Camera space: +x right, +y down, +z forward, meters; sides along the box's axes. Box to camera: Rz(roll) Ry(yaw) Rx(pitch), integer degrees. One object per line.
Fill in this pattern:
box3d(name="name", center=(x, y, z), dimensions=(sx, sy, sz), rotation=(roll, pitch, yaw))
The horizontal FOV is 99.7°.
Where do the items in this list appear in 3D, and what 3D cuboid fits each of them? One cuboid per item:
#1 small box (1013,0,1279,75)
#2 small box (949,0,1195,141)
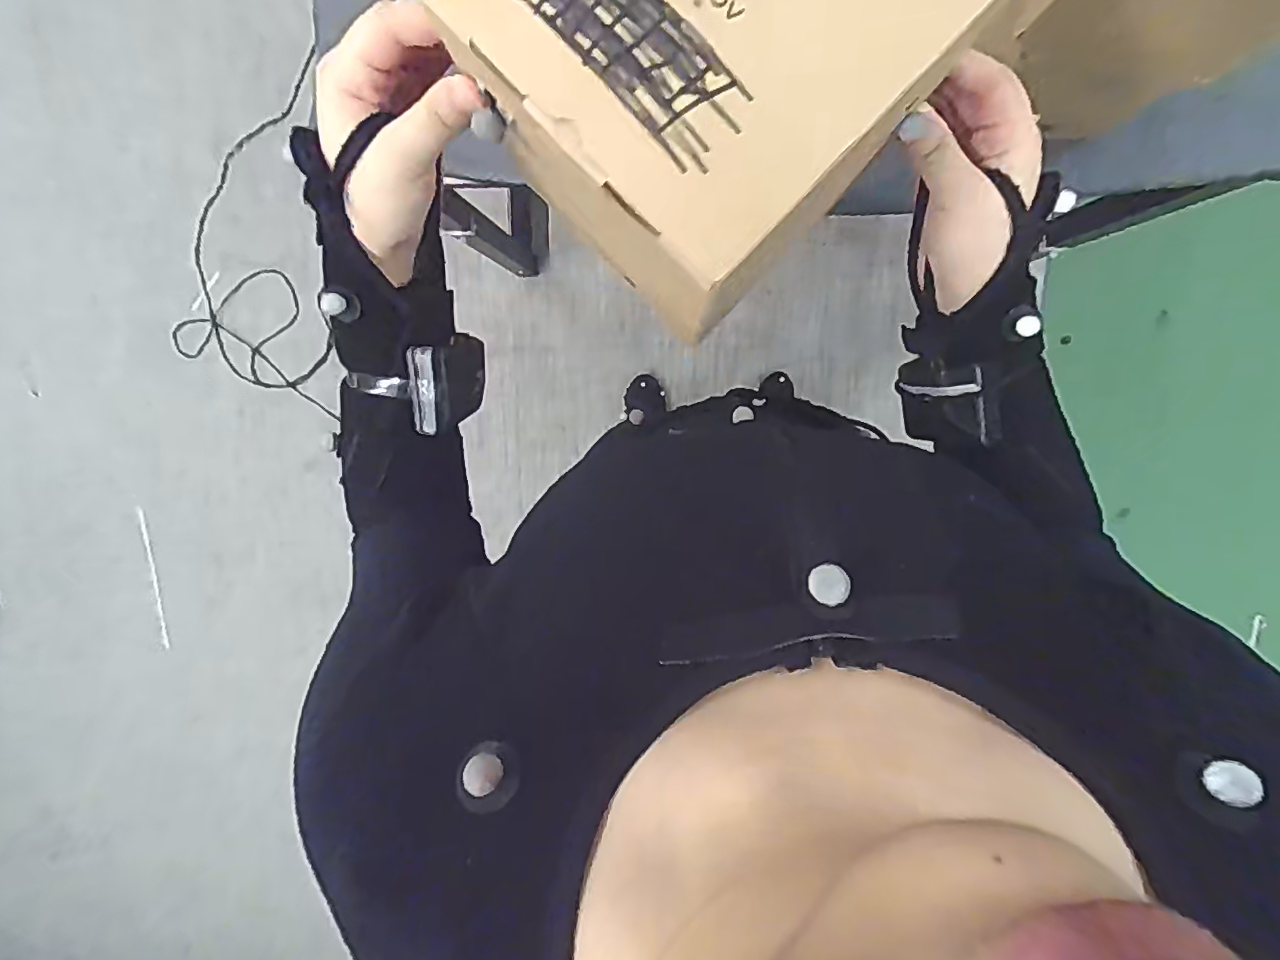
box3d(name="small box", center=(0.426, -0.435, 0.390), dimensions=(0.179, 0.176, 0.168), rotation=(14, 100, 4))
box3d(name="small box", center=(0.441, -0.477, 0.547), dimensions=(0.168, 0.176, 0.179), rotation=(3, 100, 5))
